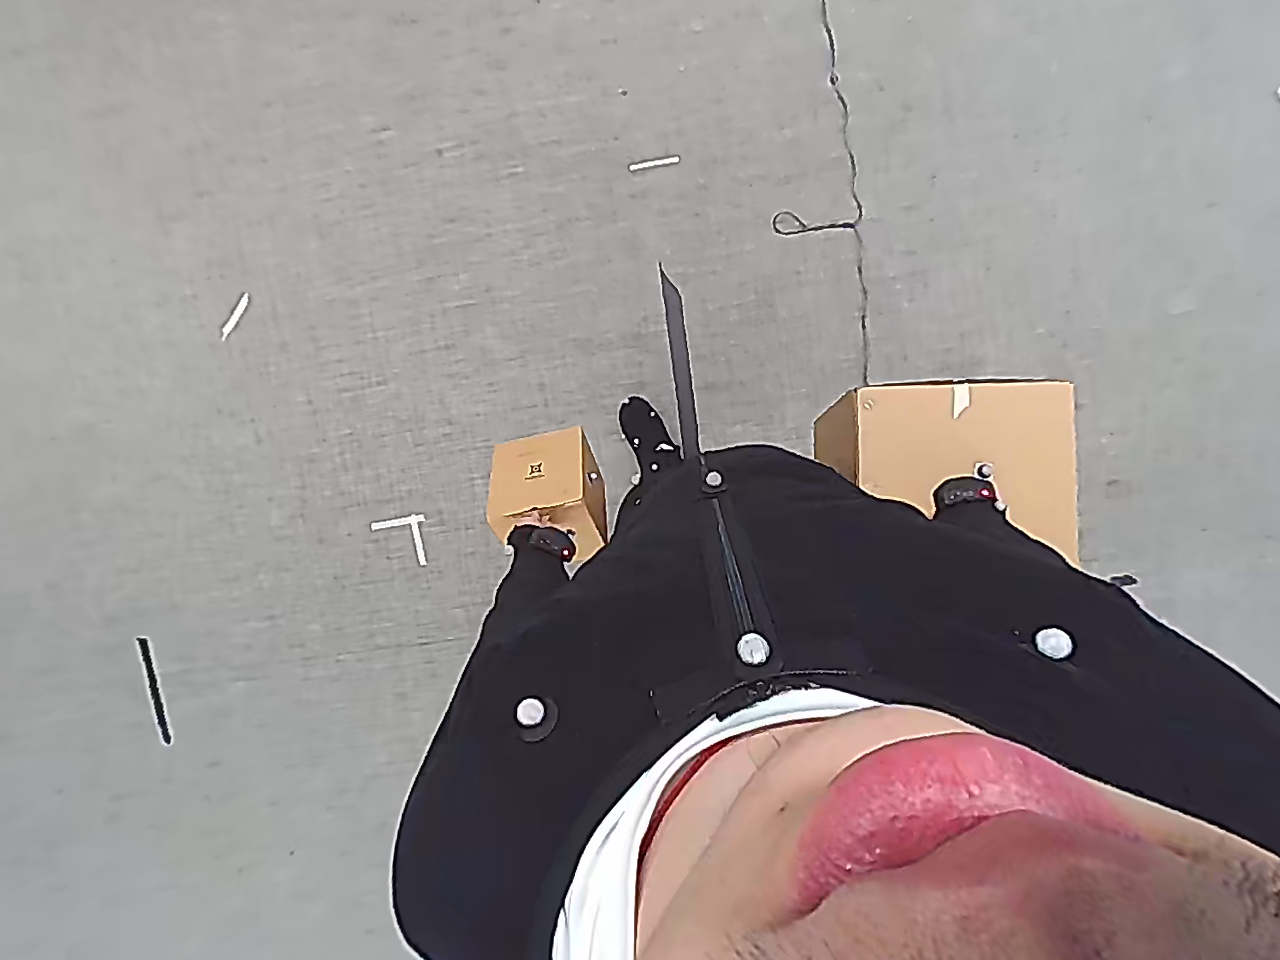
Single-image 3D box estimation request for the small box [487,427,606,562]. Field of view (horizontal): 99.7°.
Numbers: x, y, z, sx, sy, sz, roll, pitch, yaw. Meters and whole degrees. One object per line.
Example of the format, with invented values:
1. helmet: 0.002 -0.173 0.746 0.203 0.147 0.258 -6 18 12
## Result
1. small box: -0.163 0.035 0.987 0.168 0.176 0.179 -11 49 5
